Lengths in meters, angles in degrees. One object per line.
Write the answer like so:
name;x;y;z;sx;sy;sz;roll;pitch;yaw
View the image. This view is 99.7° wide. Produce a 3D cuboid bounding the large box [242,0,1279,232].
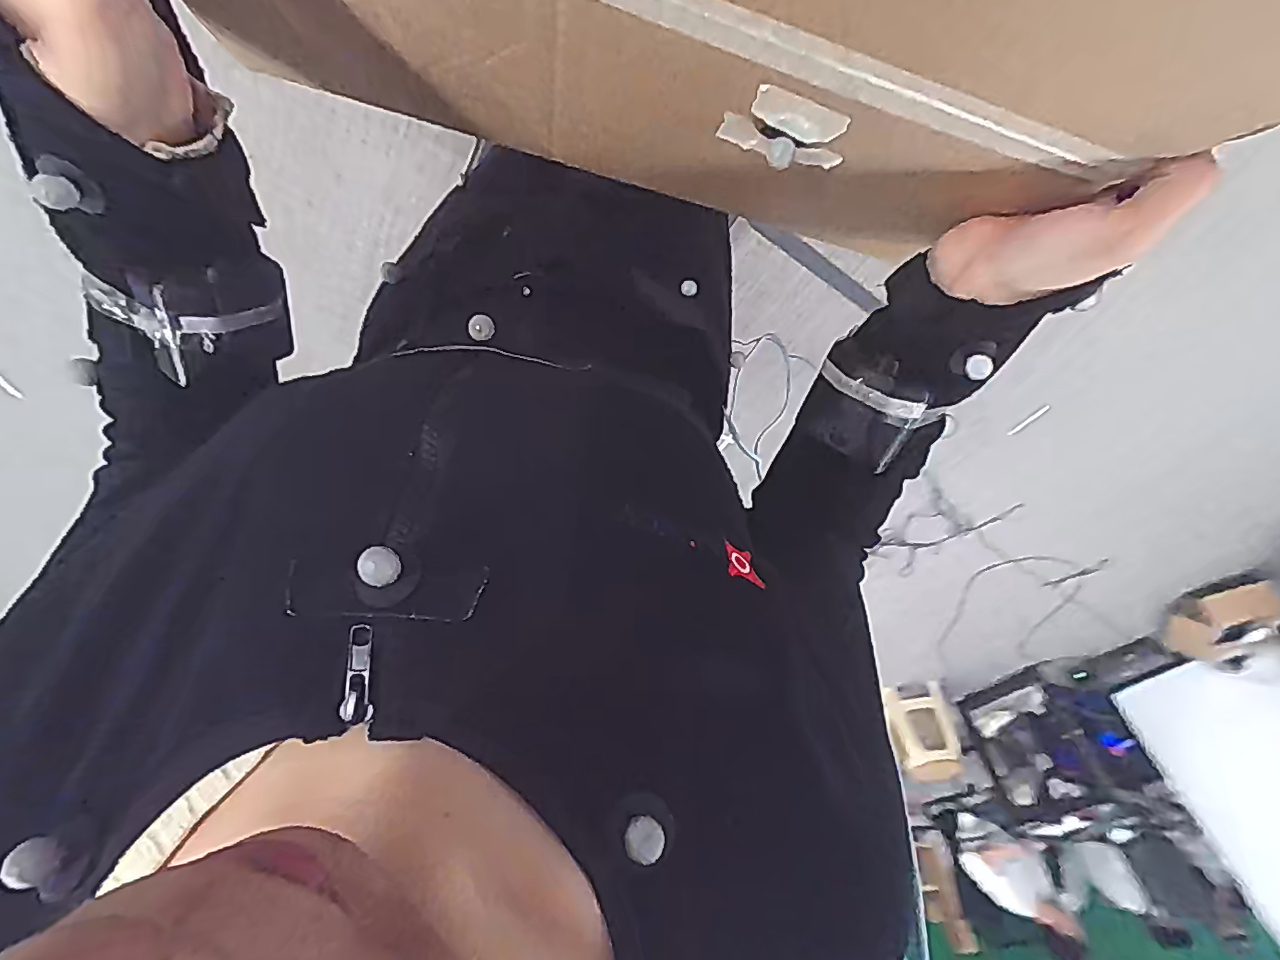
large box;0.057;-0.317;0.140;0.408;0.320;0.320;10;97;-12
